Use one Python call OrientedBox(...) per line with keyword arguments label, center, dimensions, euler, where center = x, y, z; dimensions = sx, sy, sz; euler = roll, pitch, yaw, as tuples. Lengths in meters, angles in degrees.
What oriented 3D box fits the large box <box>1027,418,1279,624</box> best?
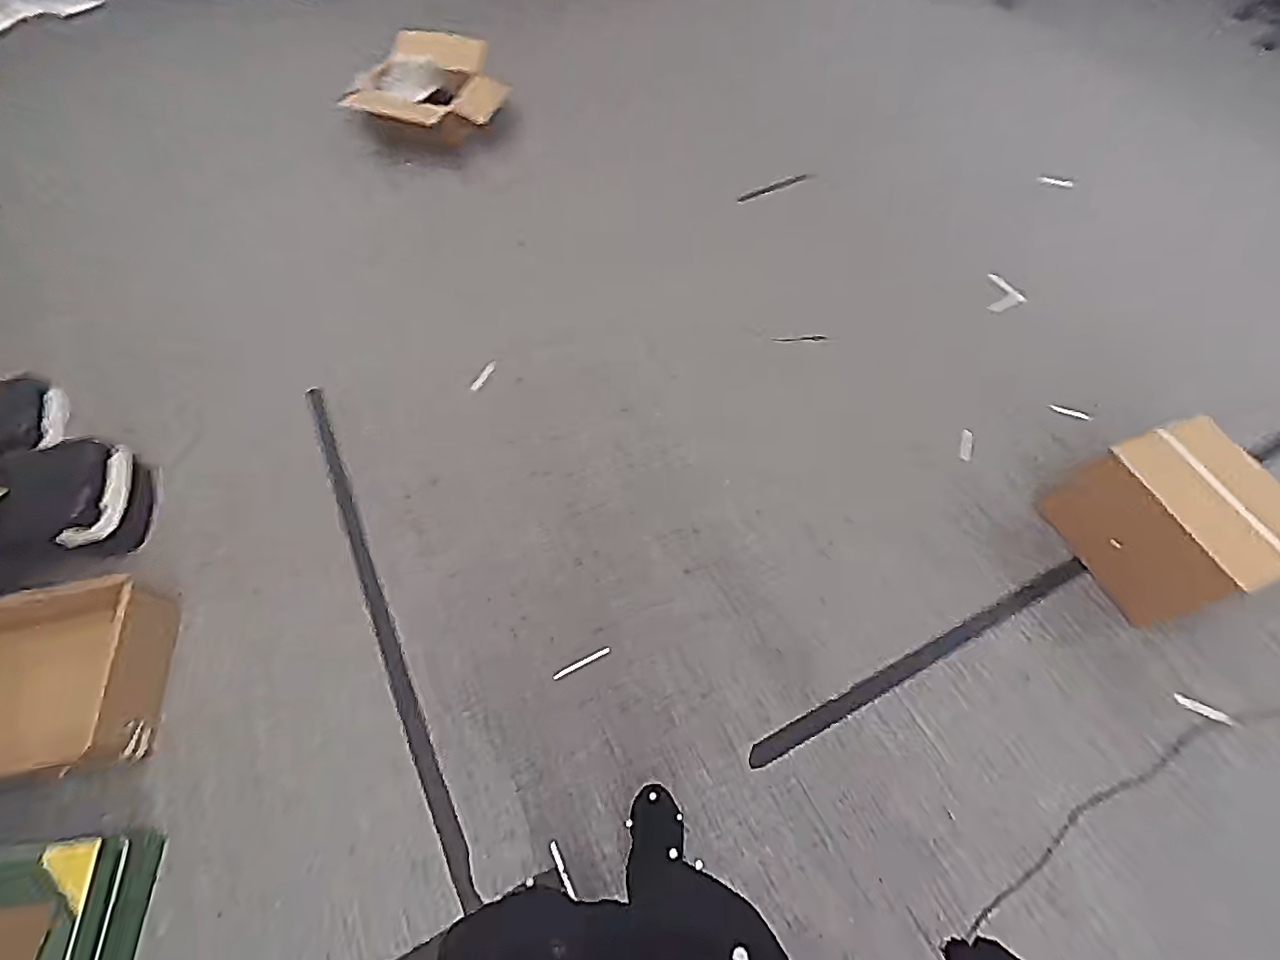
OrientedBox(label="large box", center=(1.372, 0.112, 1.439), dimensions=(0.320, 0.320, 0.408), euler=(-18, 62, -10))
